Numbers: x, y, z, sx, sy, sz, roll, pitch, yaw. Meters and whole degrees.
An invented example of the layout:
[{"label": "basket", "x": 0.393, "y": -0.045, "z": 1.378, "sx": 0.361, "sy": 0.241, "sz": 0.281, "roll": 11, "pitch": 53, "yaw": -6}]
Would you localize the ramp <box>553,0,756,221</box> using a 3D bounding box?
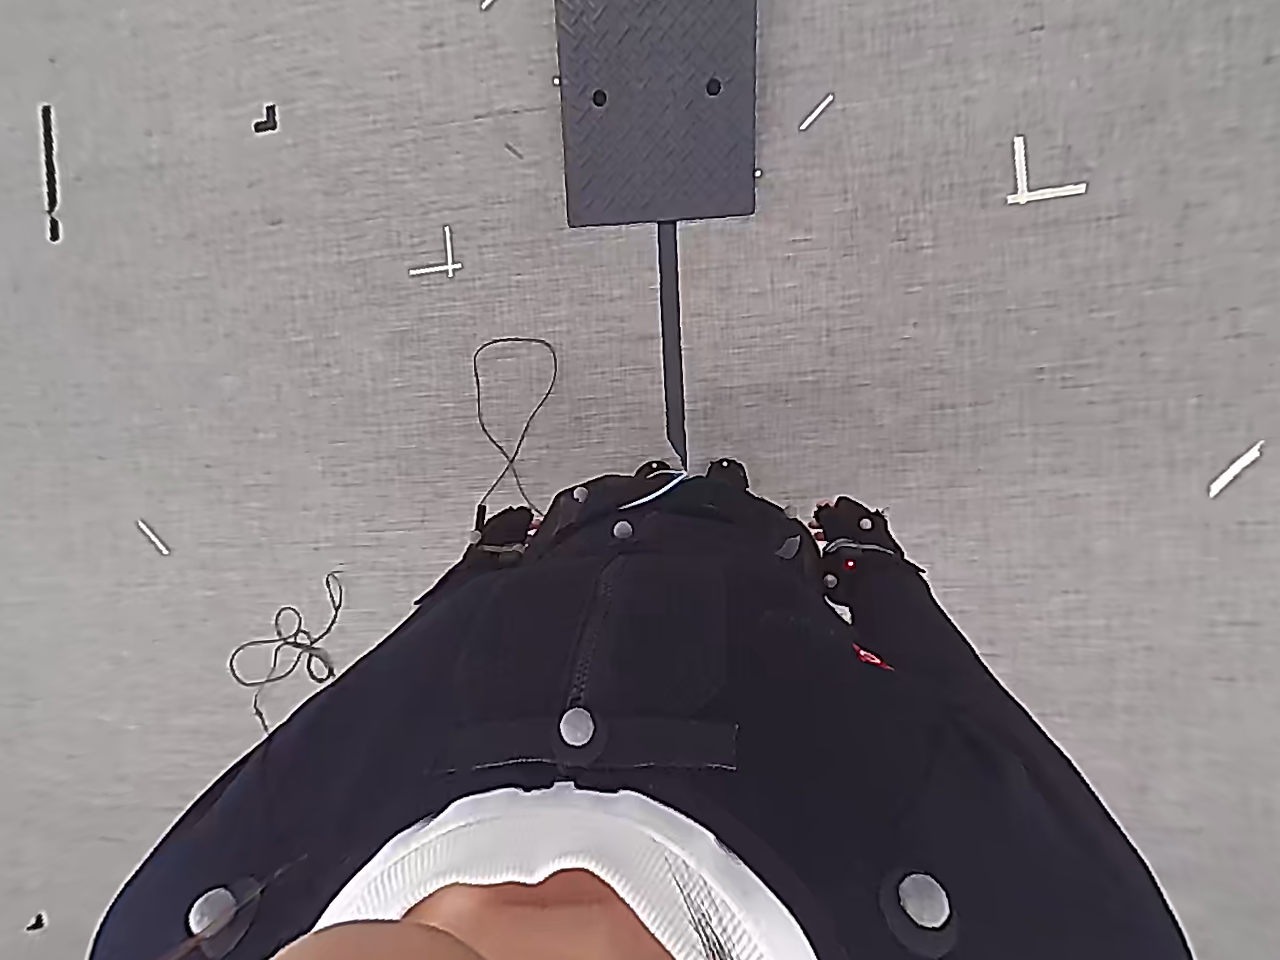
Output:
[{"label": "ramp", "x": 0.030, "y": -1.177, "z": 1.297, "sx": 0.509, "sy": 0.206, "sz": 0.991, "roll": -3, "pitch": 93, "yaw": 6}]
